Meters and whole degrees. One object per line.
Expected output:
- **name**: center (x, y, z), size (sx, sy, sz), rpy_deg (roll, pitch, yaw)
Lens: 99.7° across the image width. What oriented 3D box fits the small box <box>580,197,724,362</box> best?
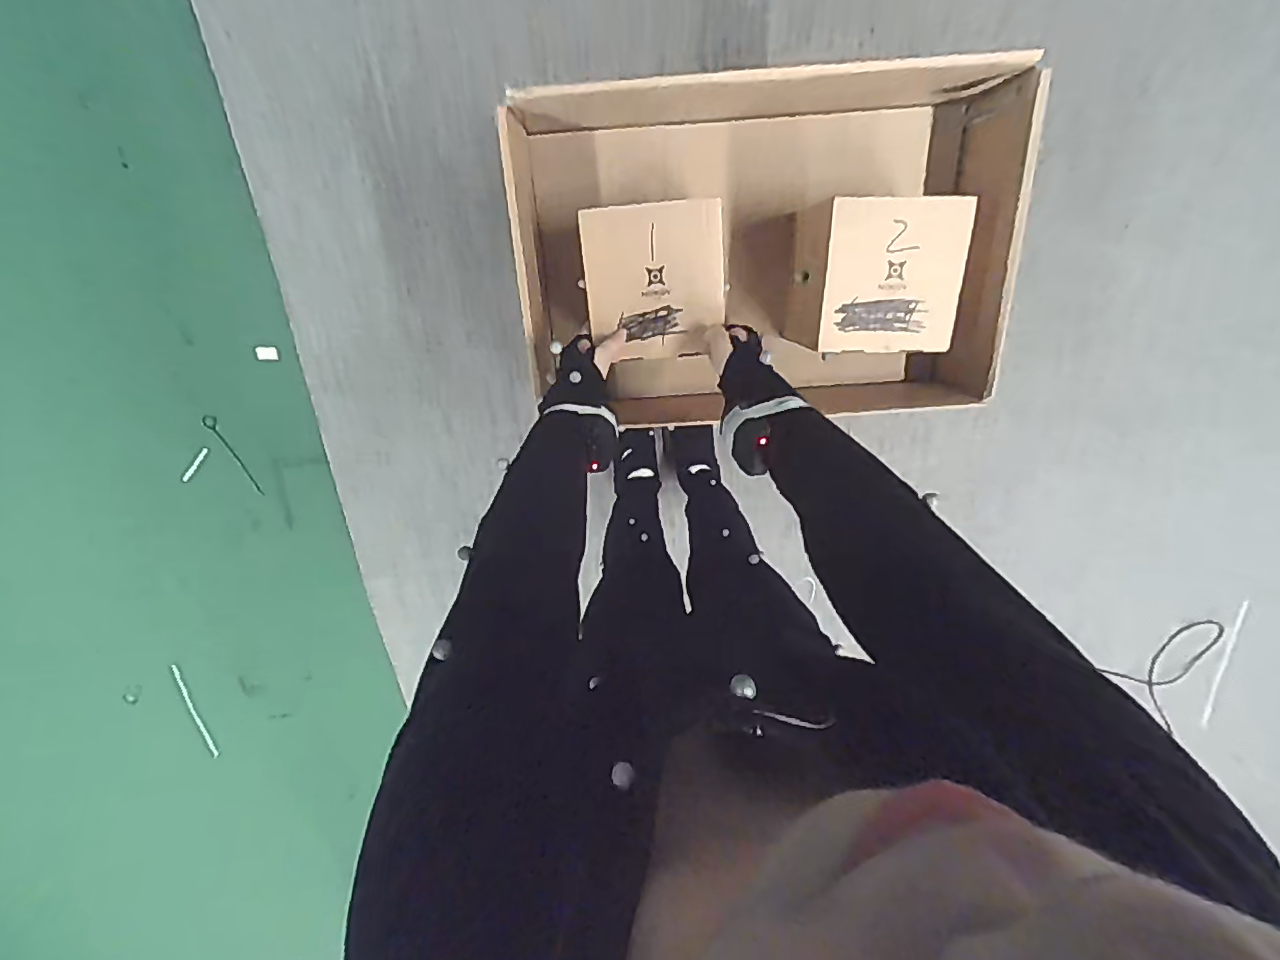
- **small box**: center (0.019, -0.263, 0.718), size (0.168, 0.176, 0.179), rpy_deg (-5, 111, 2)
